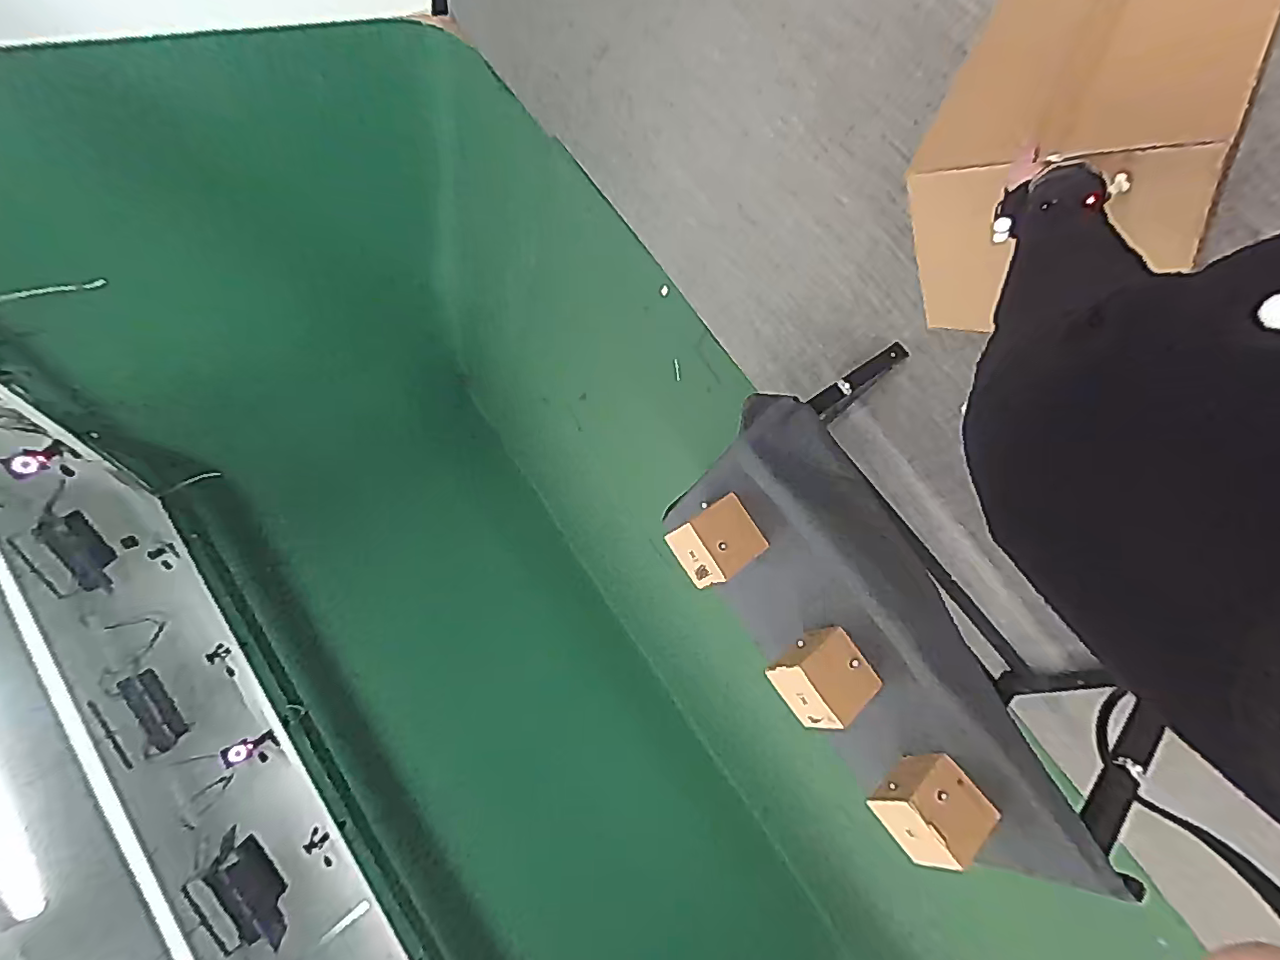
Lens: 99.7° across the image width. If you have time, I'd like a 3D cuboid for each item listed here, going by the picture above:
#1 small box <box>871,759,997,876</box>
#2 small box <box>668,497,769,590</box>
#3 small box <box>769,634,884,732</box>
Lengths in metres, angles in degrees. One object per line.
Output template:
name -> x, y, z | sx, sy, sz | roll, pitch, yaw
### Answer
small box -> 0.695, 0.785, 1.274 | 0.168, 0.176, 0.179 | 51, 154, 19
small box -> 0.213, 0.172, 1.461 | 0.179, 0.176, 0.168 | 57, 153, 5
small box -> 0.471, 0.507, 1.370 | 0.179, 0.176, 0.168 | 55, 153, 9
